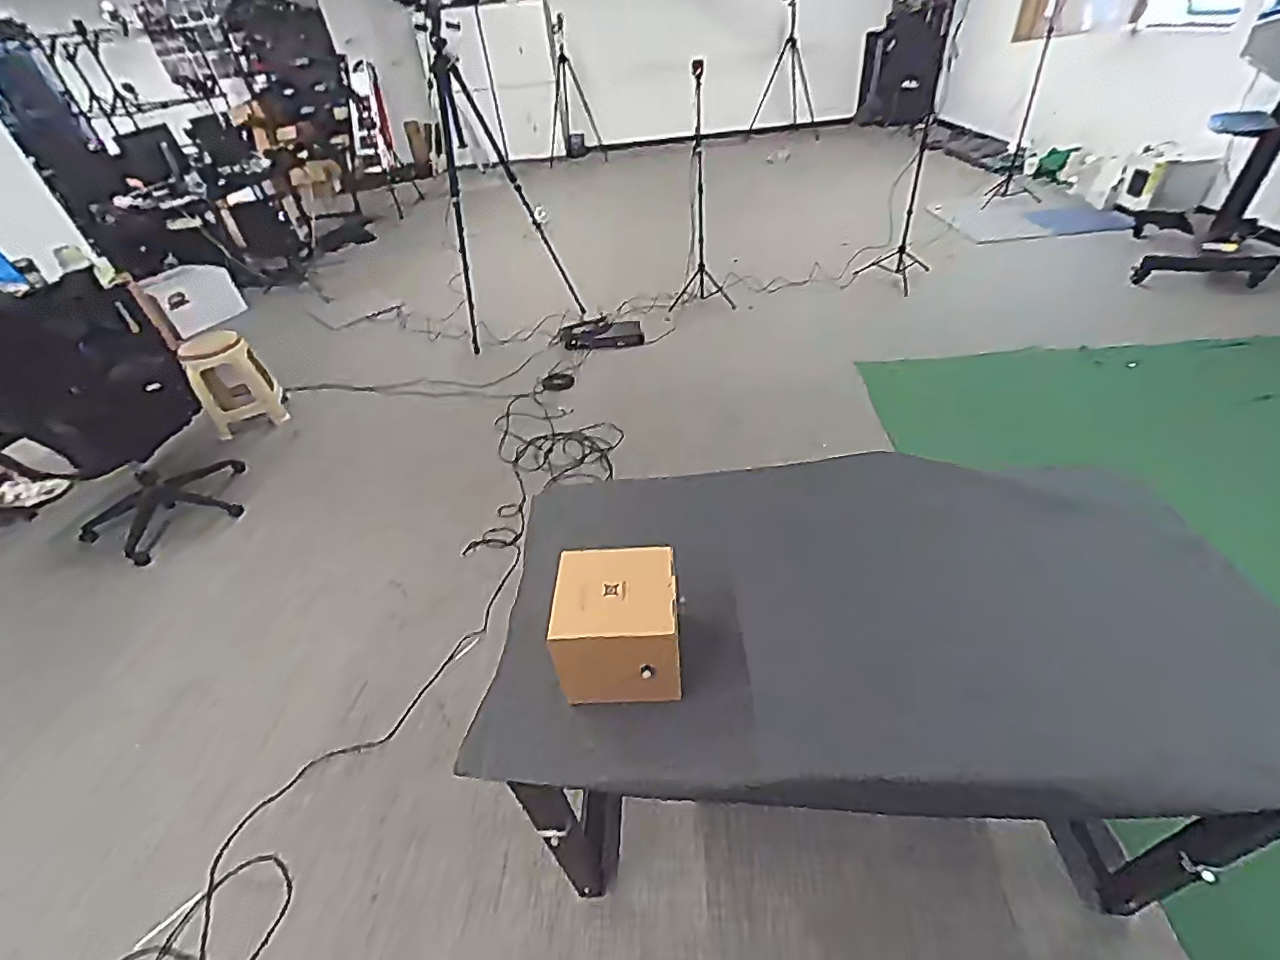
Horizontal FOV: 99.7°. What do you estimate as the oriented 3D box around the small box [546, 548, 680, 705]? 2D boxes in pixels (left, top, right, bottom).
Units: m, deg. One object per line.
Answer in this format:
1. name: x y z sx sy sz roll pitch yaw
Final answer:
1. small box: -0.030 0.225 0.828 0.179 0.176 0.168 -5 38 5
